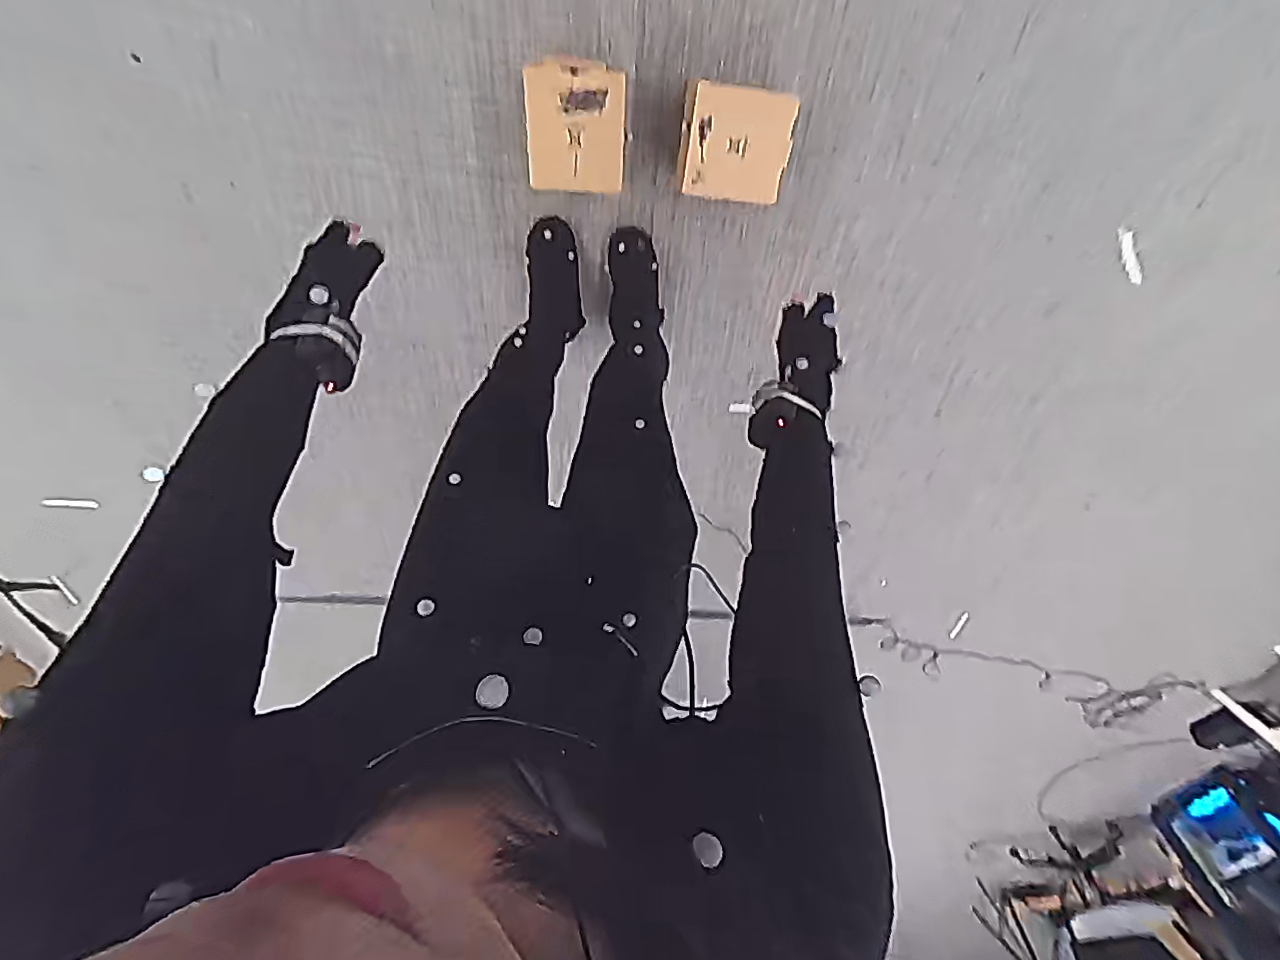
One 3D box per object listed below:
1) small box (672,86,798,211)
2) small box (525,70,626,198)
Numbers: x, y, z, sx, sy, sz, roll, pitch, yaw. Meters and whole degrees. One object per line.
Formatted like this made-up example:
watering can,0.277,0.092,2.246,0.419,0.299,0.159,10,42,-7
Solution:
small box,0.163,-0.613,0.995,0.179,0.176,0.168,4,127,-6
small box,-0.112,-0.626,0.976,0.168,0.176,0.179,3,128,-3
